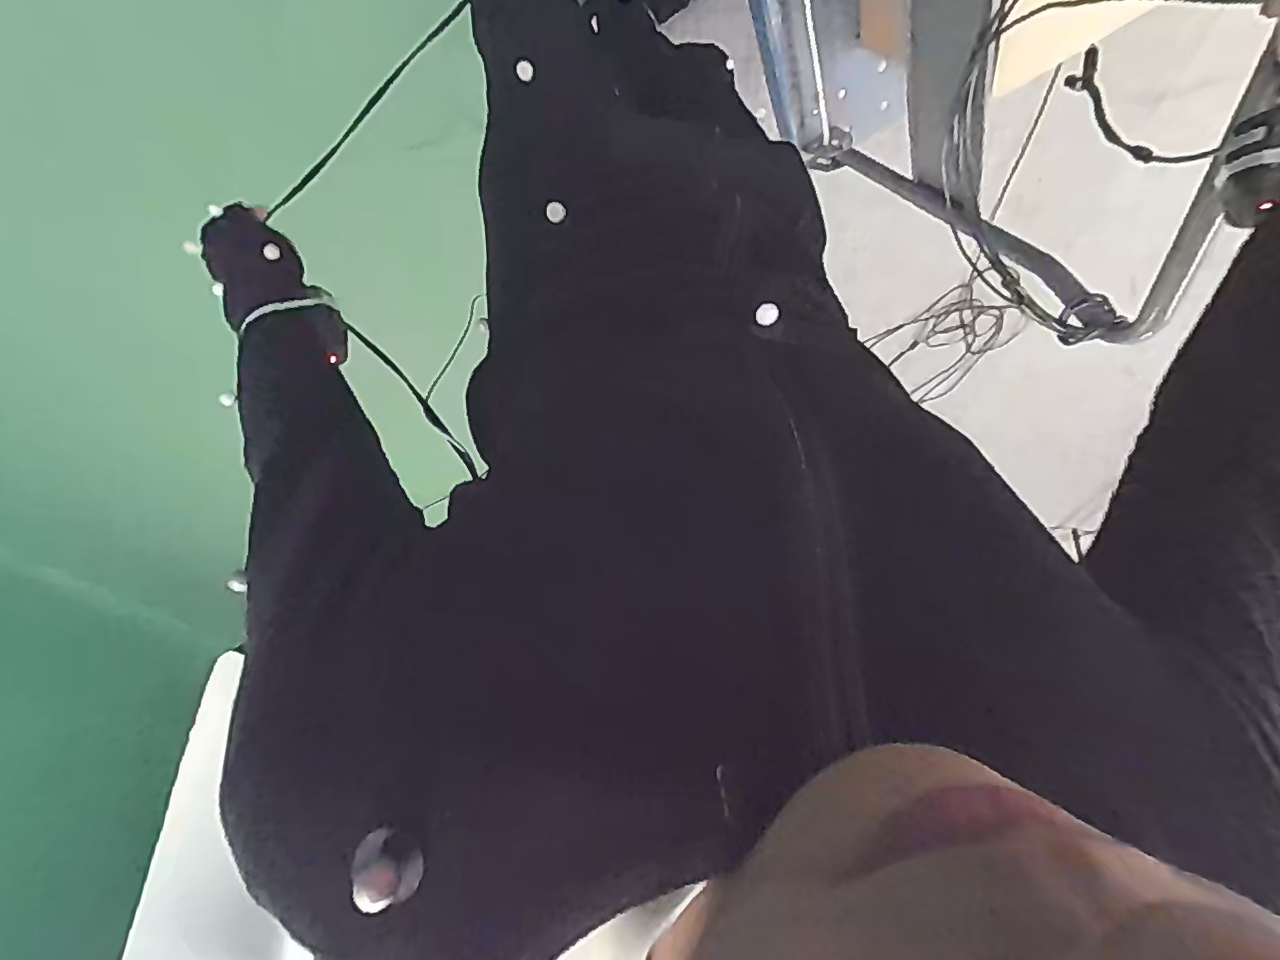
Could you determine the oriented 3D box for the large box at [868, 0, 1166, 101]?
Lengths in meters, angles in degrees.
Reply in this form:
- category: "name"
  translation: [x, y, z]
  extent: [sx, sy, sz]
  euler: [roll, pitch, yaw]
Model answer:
- category: "large box"
  translation: [0.547, -0.789, 0.684]
  extent: [0.408, 0.320, 0.320]
  euler: [-29, 143, 6]
